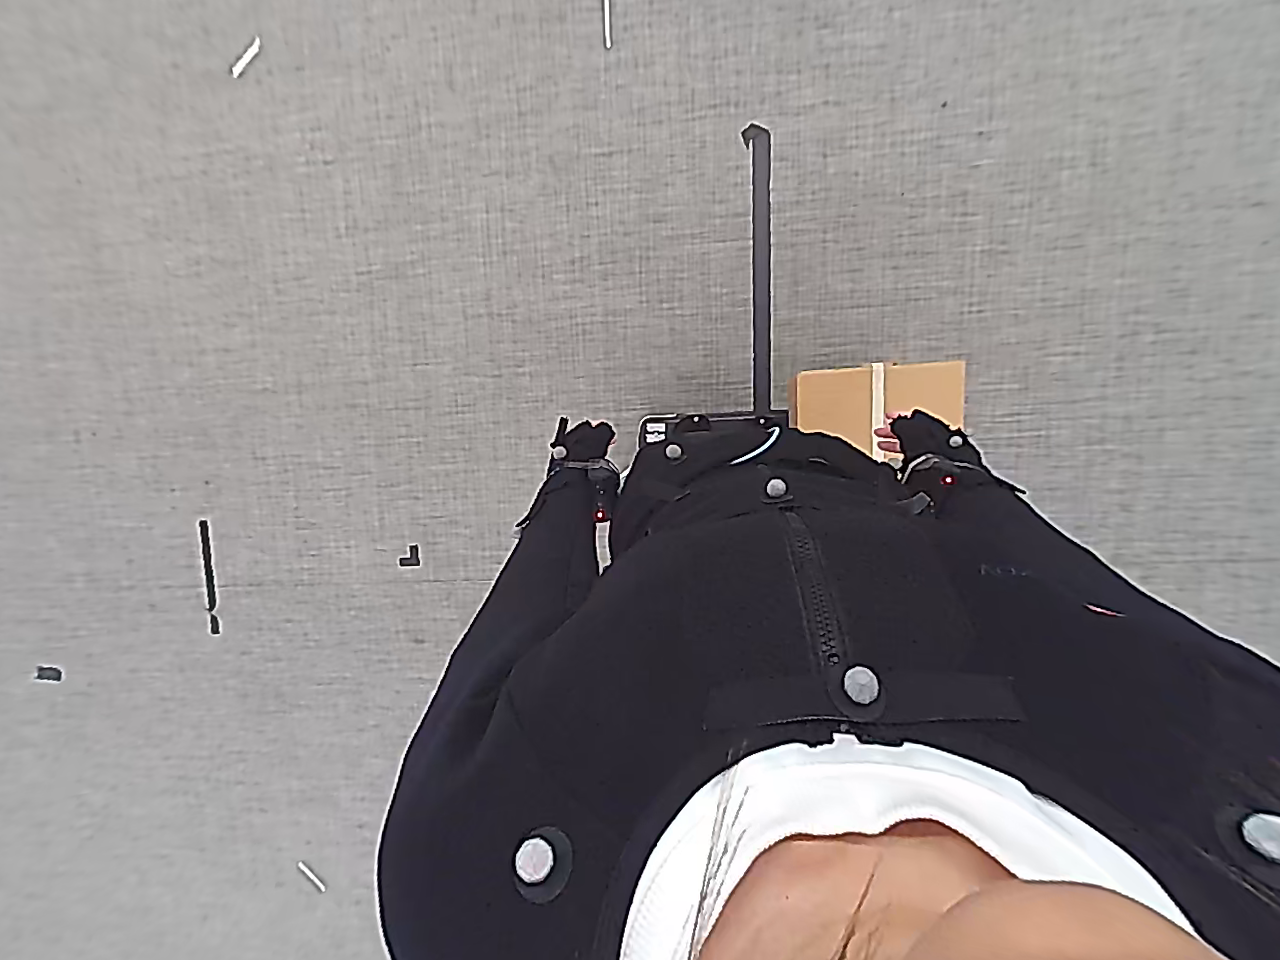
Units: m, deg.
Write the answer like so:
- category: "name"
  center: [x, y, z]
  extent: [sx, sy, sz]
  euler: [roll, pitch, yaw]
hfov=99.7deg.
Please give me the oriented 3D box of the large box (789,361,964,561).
- category: "large box"
  center: [0.518, -0.051, 1.243]
  extent: [0.320, 0.320, 0.408]
  euler: [-2, 98, 13]
